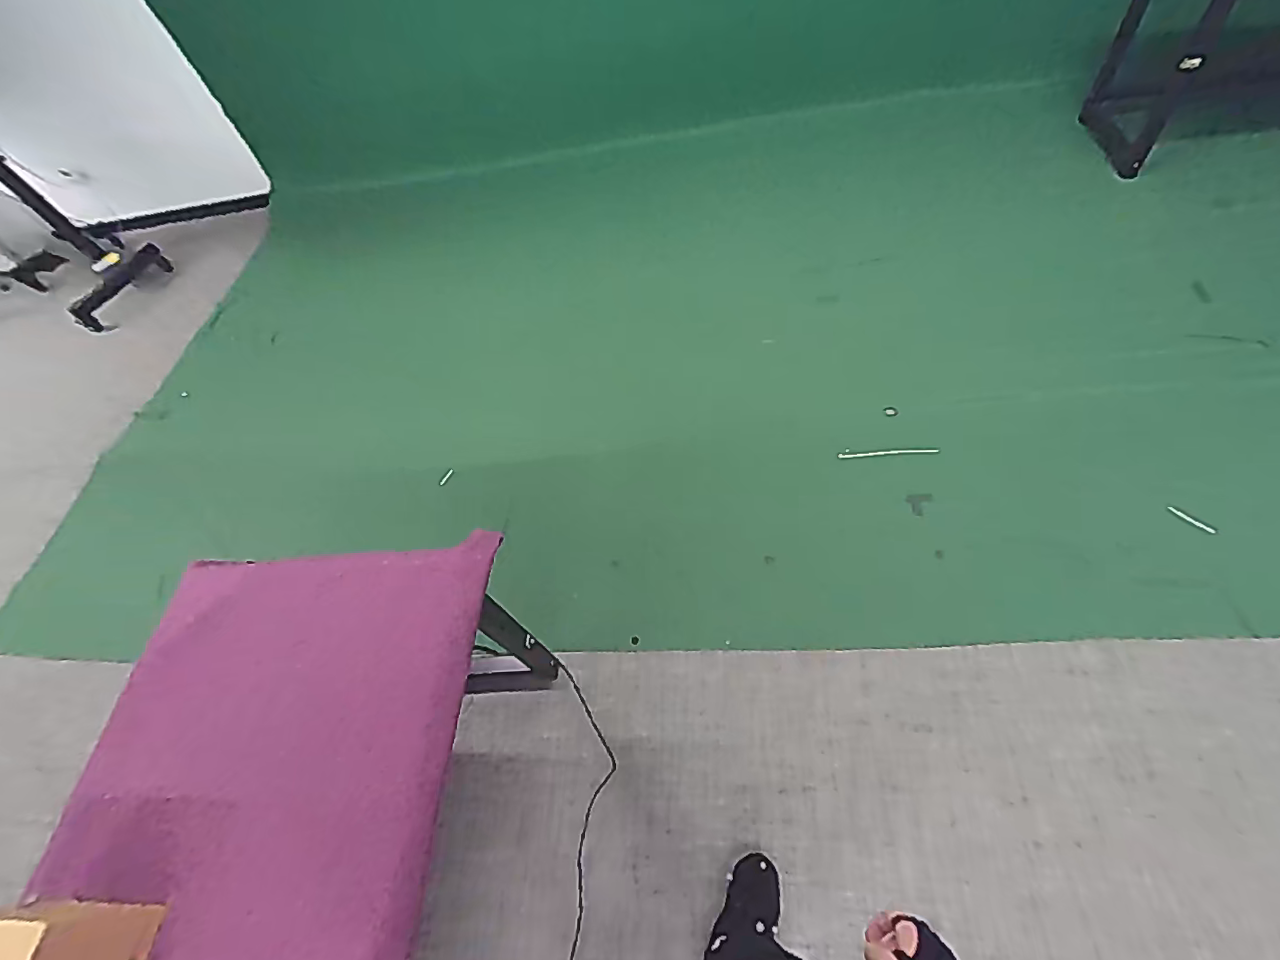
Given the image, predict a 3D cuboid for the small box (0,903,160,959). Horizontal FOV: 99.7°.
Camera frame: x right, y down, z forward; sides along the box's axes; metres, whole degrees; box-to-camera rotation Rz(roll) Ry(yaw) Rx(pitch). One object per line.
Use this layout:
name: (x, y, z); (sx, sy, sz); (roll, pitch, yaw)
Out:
small box: (-0.786, 0.650, 0.683); (0.179, 0.176, 0.168); (-3, 56, 9)
